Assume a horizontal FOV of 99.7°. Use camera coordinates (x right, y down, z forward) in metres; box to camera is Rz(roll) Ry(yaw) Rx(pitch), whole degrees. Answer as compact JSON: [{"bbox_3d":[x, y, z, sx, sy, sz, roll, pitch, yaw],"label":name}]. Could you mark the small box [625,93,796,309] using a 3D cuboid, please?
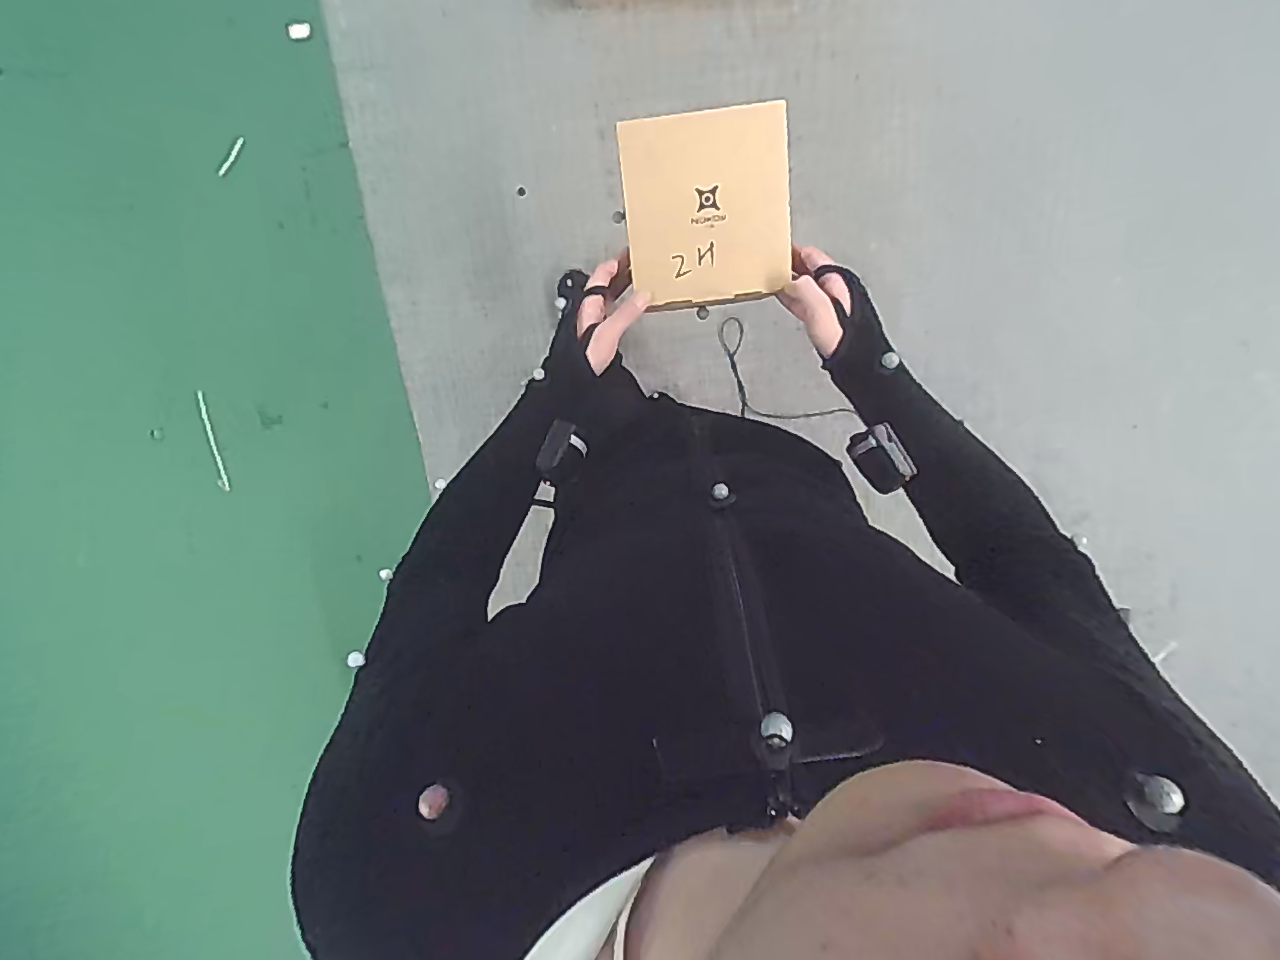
[{"bbox_3d":[0.072,-0.295,0.609,0.168,0.176,0.179,-5,105,2],"label":"small box"}]
